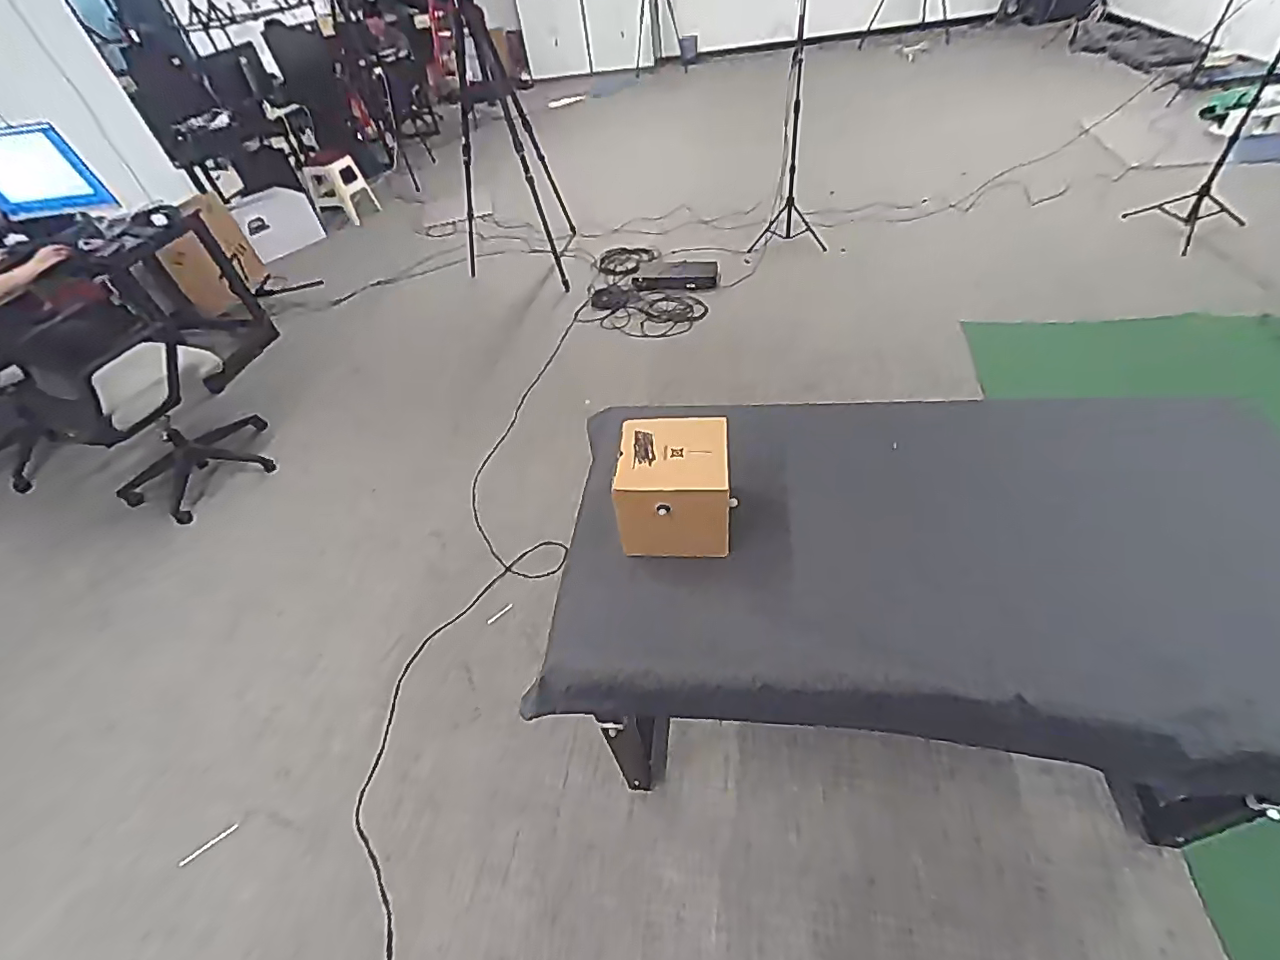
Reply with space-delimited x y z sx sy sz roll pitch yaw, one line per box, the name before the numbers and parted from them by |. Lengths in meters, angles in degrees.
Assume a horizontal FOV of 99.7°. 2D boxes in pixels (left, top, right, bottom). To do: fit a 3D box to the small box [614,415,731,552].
small box | 0.063 0.008 0.912 0.179 0.176 0.168 0 47 8
